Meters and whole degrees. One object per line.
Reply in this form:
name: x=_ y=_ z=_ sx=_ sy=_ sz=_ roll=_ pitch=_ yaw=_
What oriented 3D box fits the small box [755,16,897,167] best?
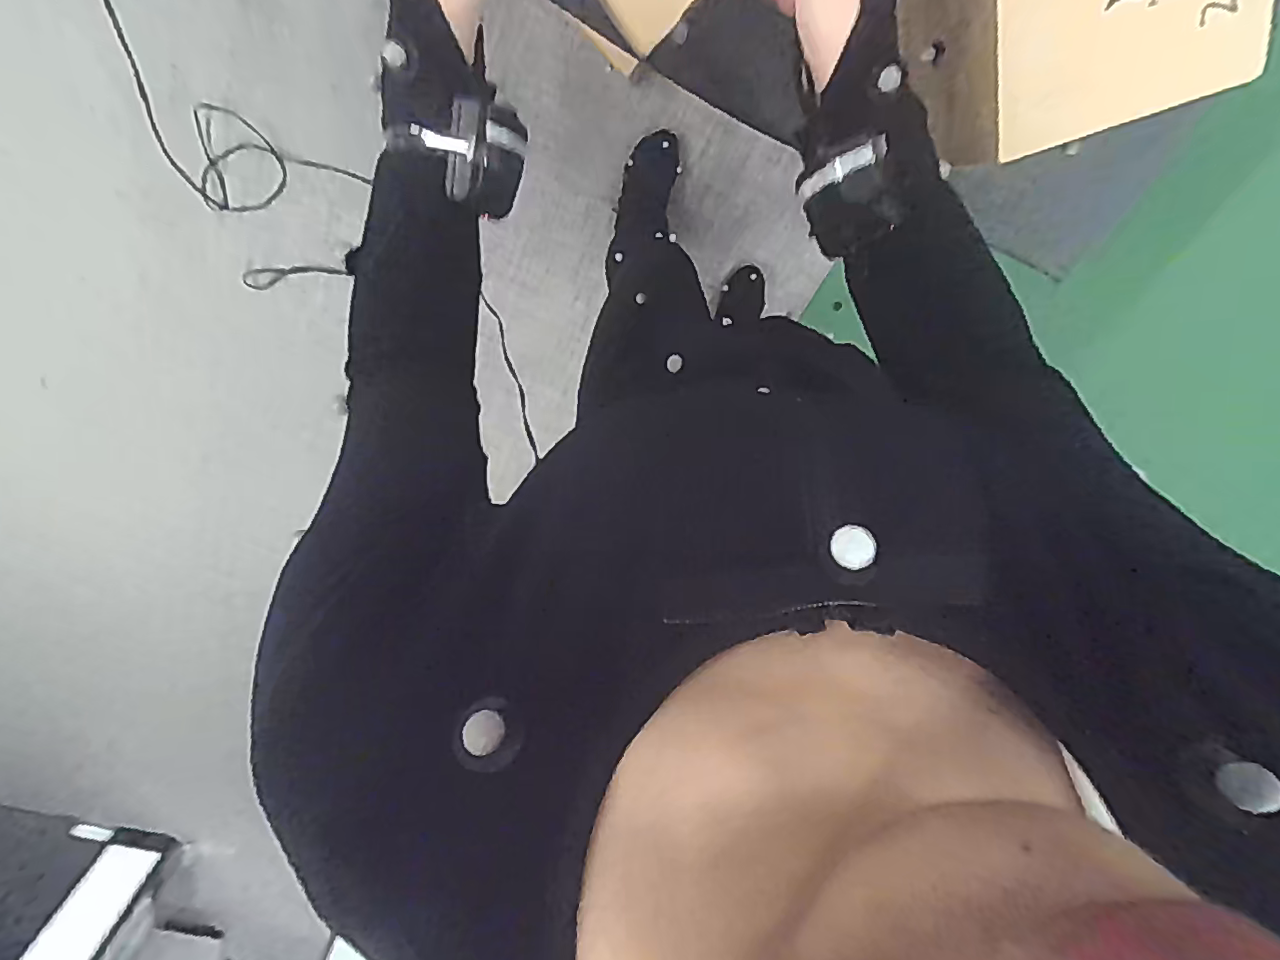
small box: x=0.346 y=-0.736 z=1.046 sx=0.179 sy=0.176 sz=0.168 roll=28 pitch=118 yaw=-16

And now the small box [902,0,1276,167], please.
small box: x=0.321 y=-0.359 z=0.419 sx=0.179 sy=0.176 sz=0.168 roll=-15 pitch=117 yaw=10

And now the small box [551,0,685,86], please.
small box: x=-0.032 y=-0.858 z=0.982 sx=0.179 sy=0.176 sz=0.168 roll=37 pitch=114 yaw=-17
